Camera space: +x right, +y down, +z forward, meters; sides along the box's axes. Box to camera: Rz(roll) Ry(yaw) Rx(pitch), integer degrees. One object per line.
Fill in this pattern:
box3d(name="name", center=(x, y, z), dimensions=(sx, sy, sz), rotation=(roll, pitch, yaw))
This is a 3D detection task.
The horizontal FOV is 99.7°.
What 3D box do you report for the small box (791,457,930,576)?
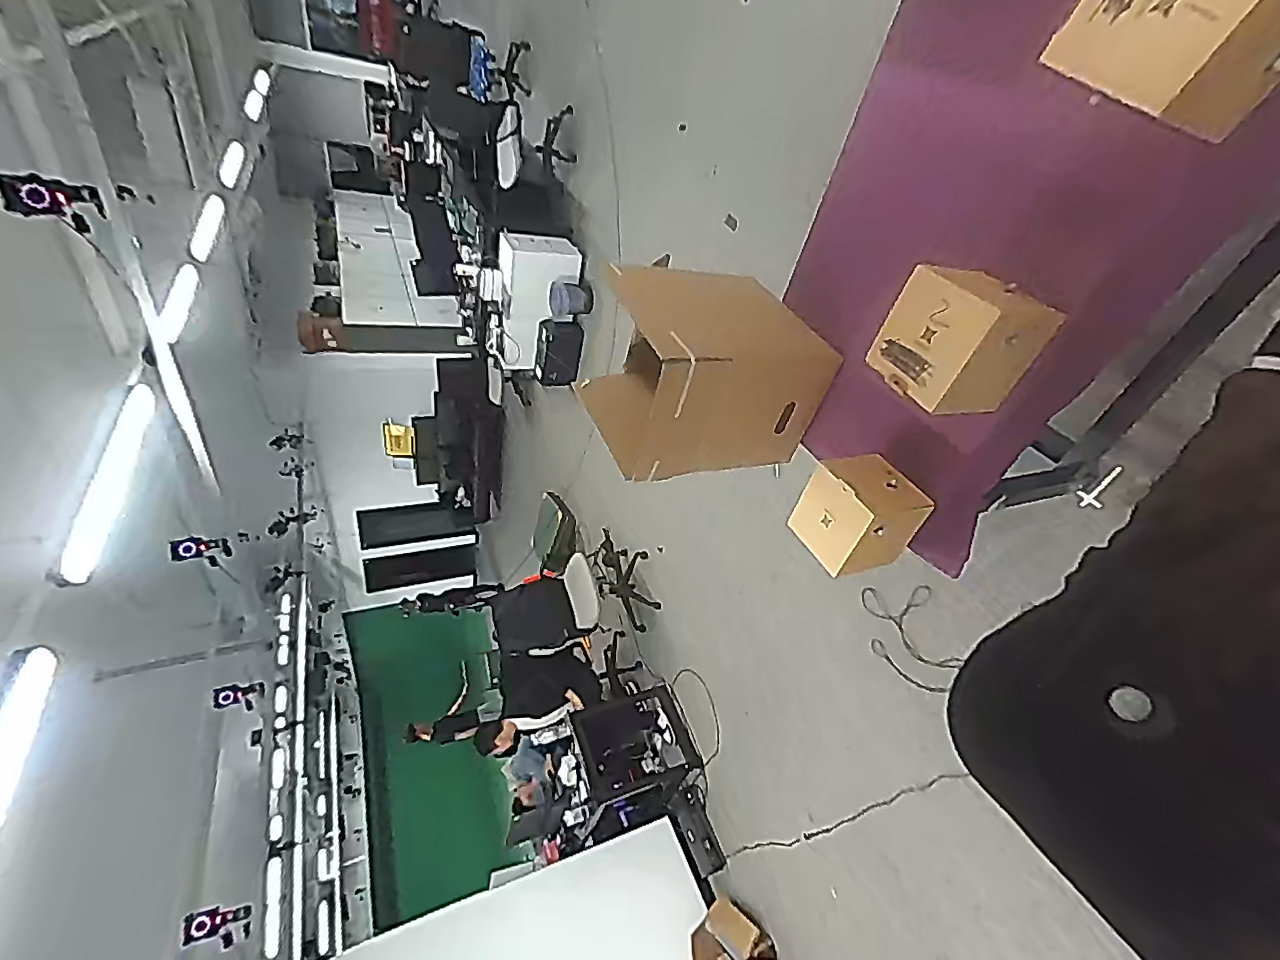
box3d(name="small box", center=(0.448, 0.070, 1.108), dimensions=(0.168, 0.176, 0.179), rotation=(58, 143, 42))
